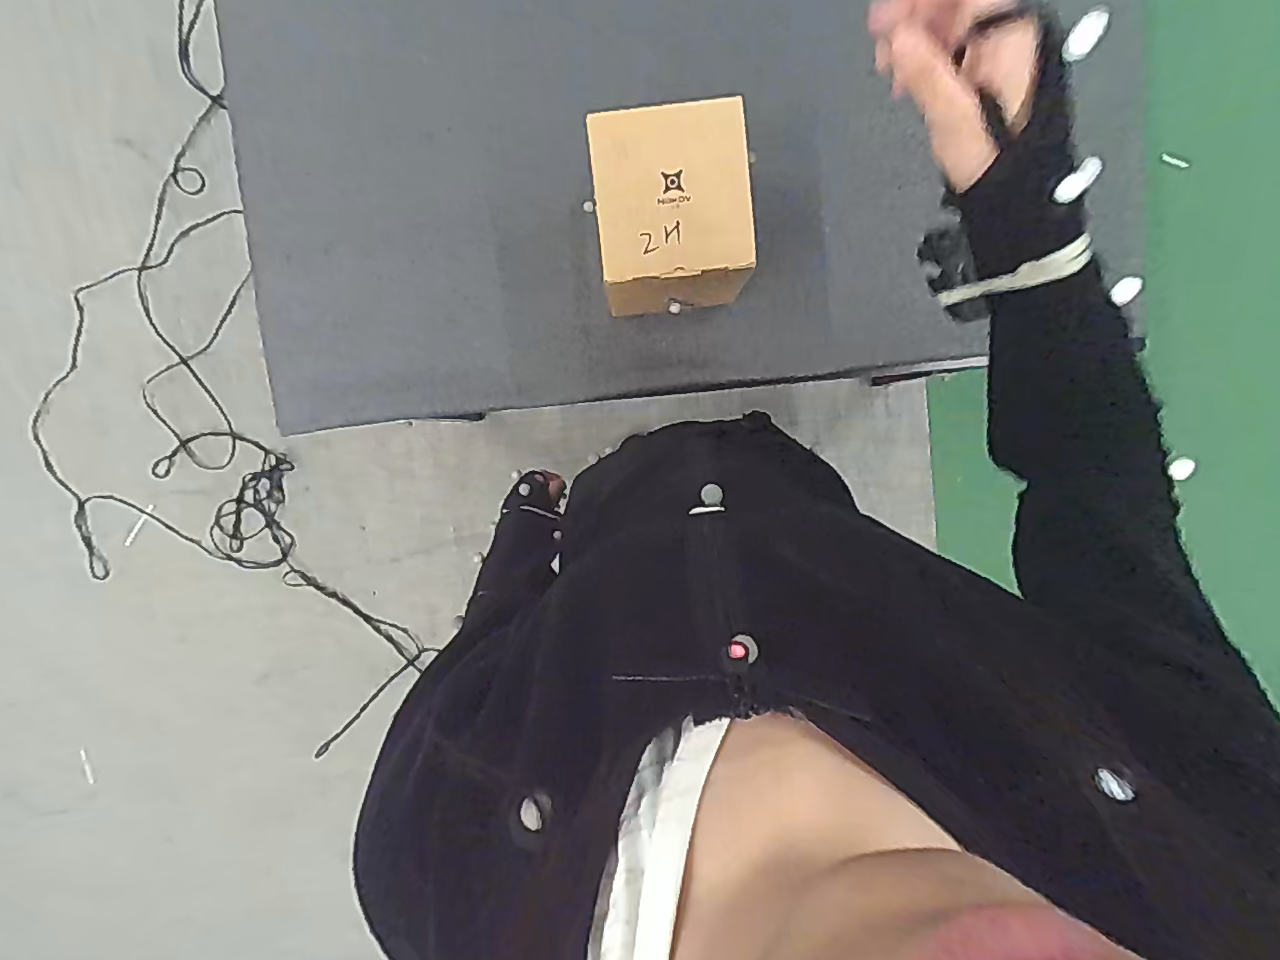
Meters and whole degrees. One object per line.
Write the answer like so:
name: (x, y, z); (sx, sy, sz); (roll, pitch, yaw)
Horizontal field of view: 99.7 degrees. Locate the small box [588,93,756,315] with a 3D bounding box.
small box: (0.034, -0.311, 0.644); (0.168, 0.176, 0.179); (-6, 94, 2)
